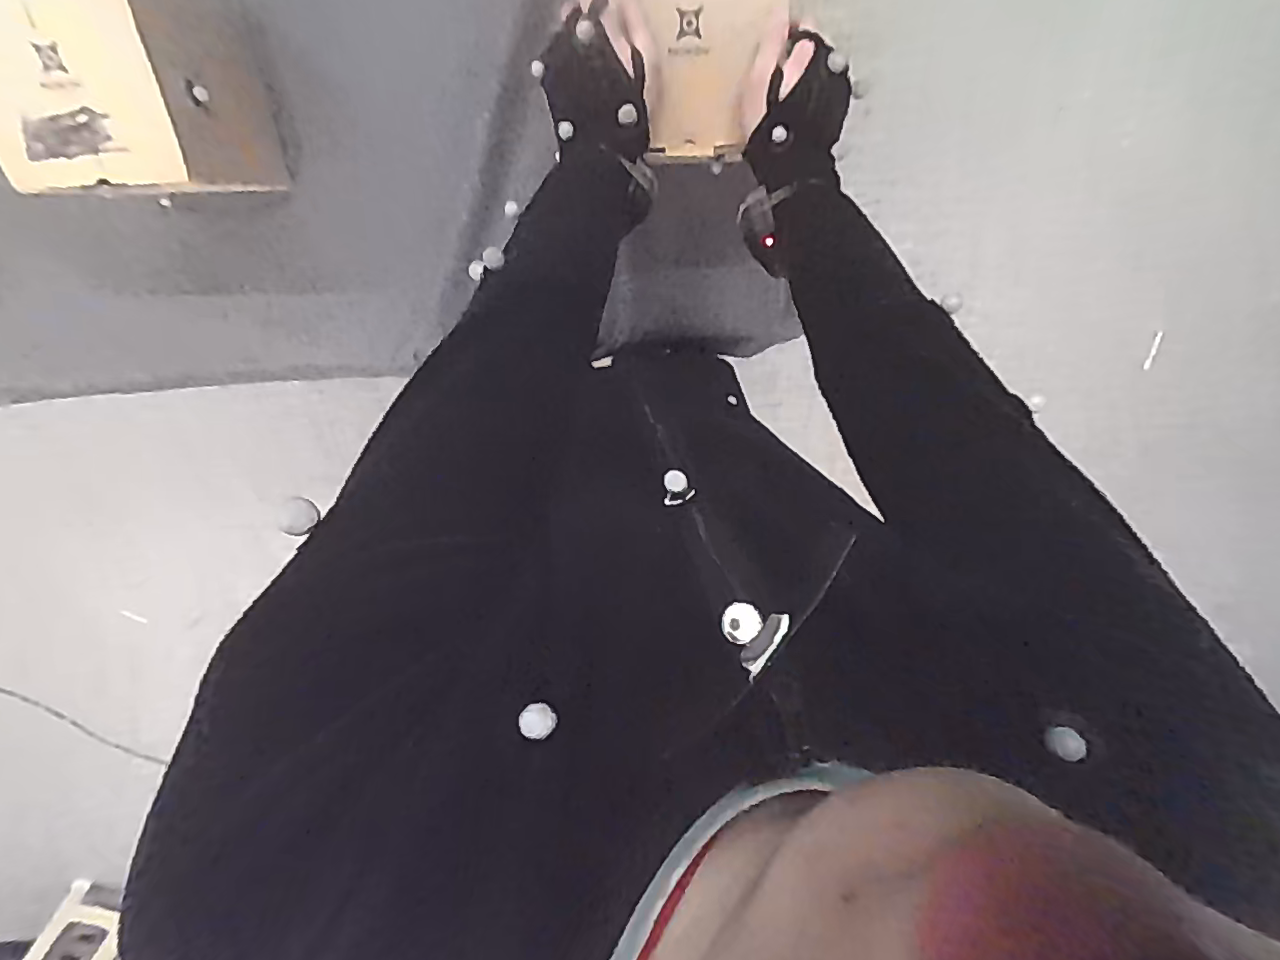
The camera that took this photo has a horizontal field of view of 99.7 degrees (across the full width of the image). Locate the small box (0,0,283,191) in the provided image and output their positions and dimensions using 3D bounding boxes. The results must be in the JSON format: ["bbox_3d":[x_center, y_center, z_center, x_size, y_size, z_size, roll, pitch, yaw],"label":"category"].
[{"bbox_3d":[-0.488,-0.380,0.519,0.168,0.176,0.179,-2,117,0],"label":"small box"}]

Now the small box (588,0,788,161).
[{"bbox_3d":[0.038,-0.410,0.517,0.168,0.176,0.179,-3,117,-1],"label":"small box"}]
